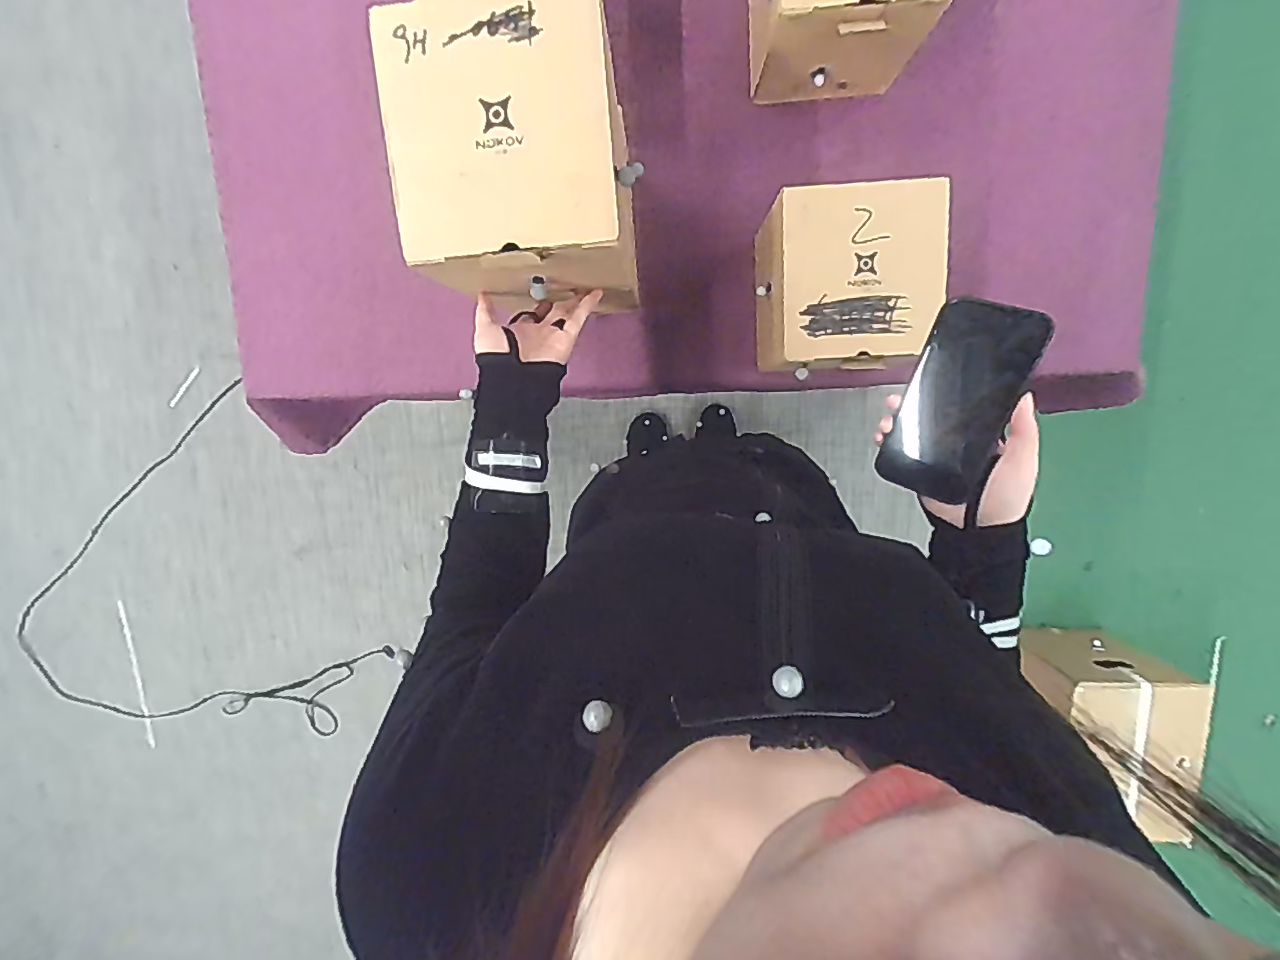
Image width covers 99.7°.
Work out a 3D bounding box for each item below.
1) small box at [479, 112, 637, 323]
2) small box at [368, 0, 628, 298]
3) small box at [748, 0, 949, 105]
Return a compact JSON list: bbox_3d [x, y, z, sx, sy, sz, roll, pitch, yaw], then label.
[{"bbox_3d":[-0.092,-0.290,0.633,0.168,0.176,0.179,-3,99,3],"label":"small box"},{"bbox_3d":[-0.102,-0.262,0.471,0.168,0.176,0.179,-4,99,3],"label":"small box"},{"bbox_3d":[0.211,-0.547,0.582,0.168,0.176,0.179,-4,99,3],"label":"small box"}]
